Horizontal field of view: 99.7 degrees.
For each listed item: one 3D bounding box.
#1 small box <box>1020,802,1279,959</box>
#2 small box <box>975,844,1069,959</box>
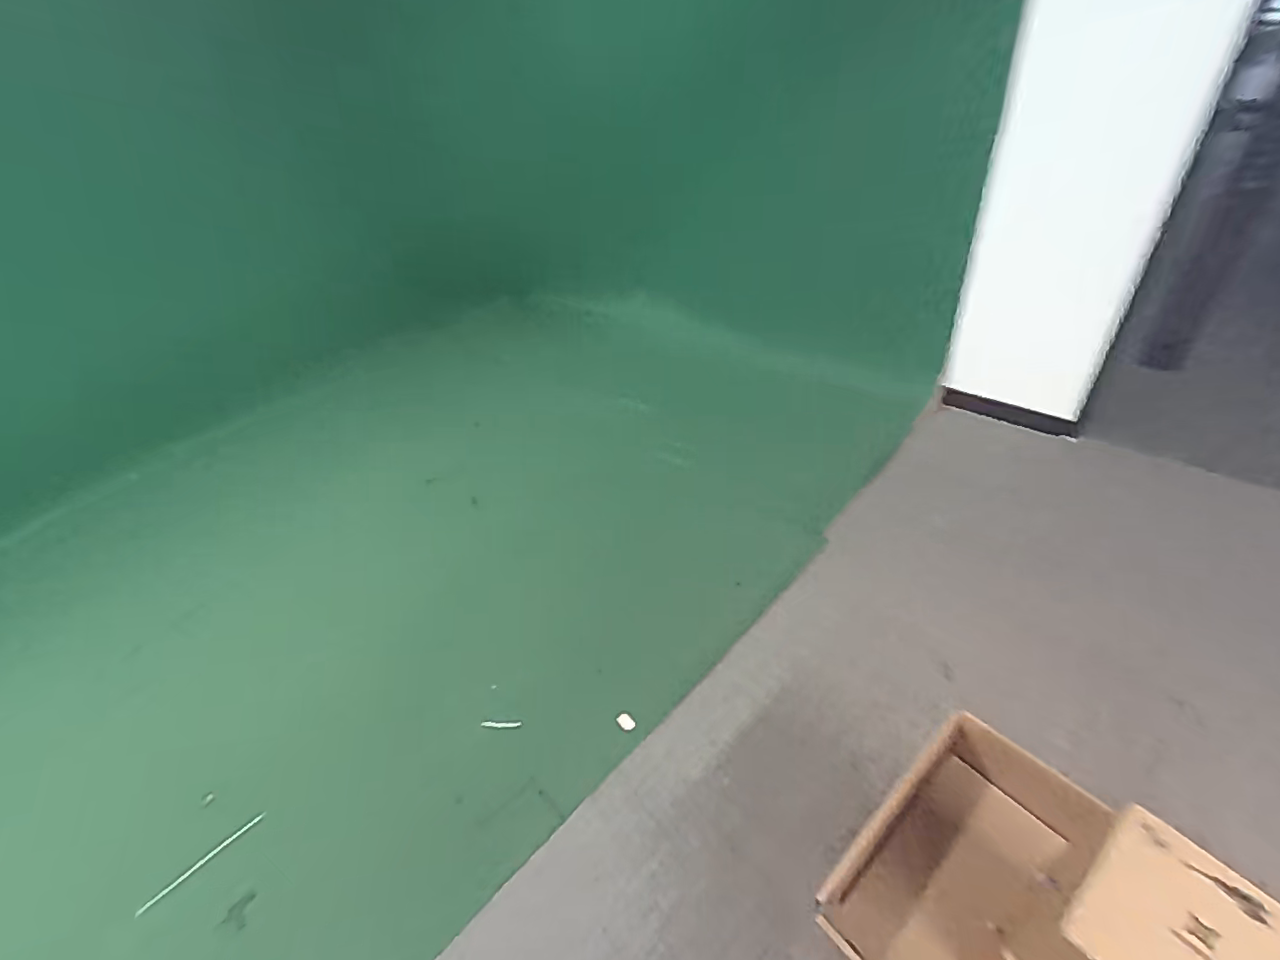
[{"bbox_3d":[0.544,0.495,0.574,0.179,0.176,0.168,-34,49,-22],"label":"small box"},{"bbox_3d":[0.558,0.618,0.683,0.179,0.176,0.168,-32,47,-23],"label":"small box"}]
